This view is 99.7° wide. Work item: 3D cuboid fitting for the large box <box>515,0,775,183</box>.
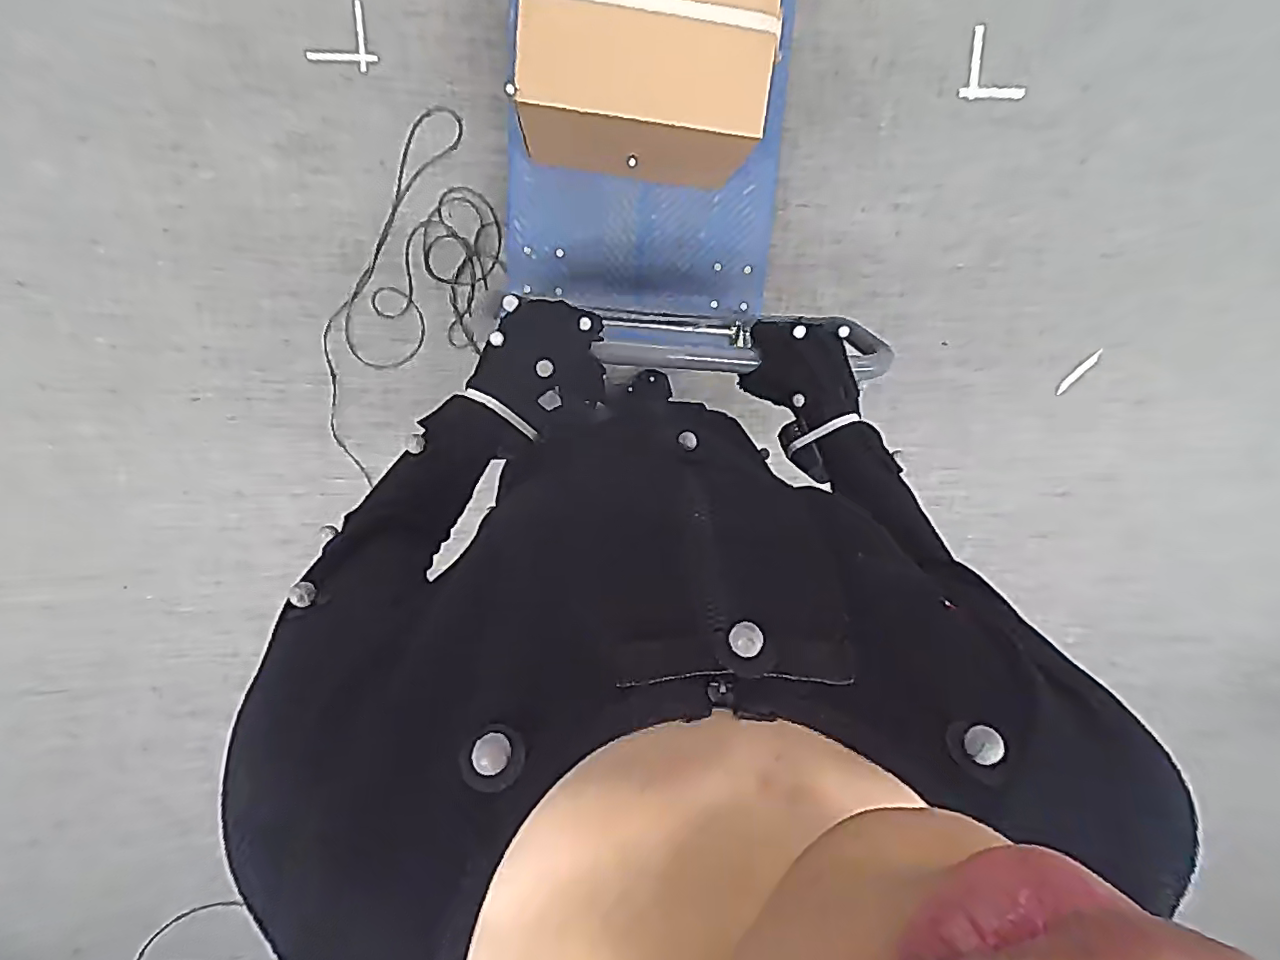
[{"bbox_3d":[0.001,-0.764,0.978,0.408,0.320,0.320,4,103,-6],"label":"large box"}]
